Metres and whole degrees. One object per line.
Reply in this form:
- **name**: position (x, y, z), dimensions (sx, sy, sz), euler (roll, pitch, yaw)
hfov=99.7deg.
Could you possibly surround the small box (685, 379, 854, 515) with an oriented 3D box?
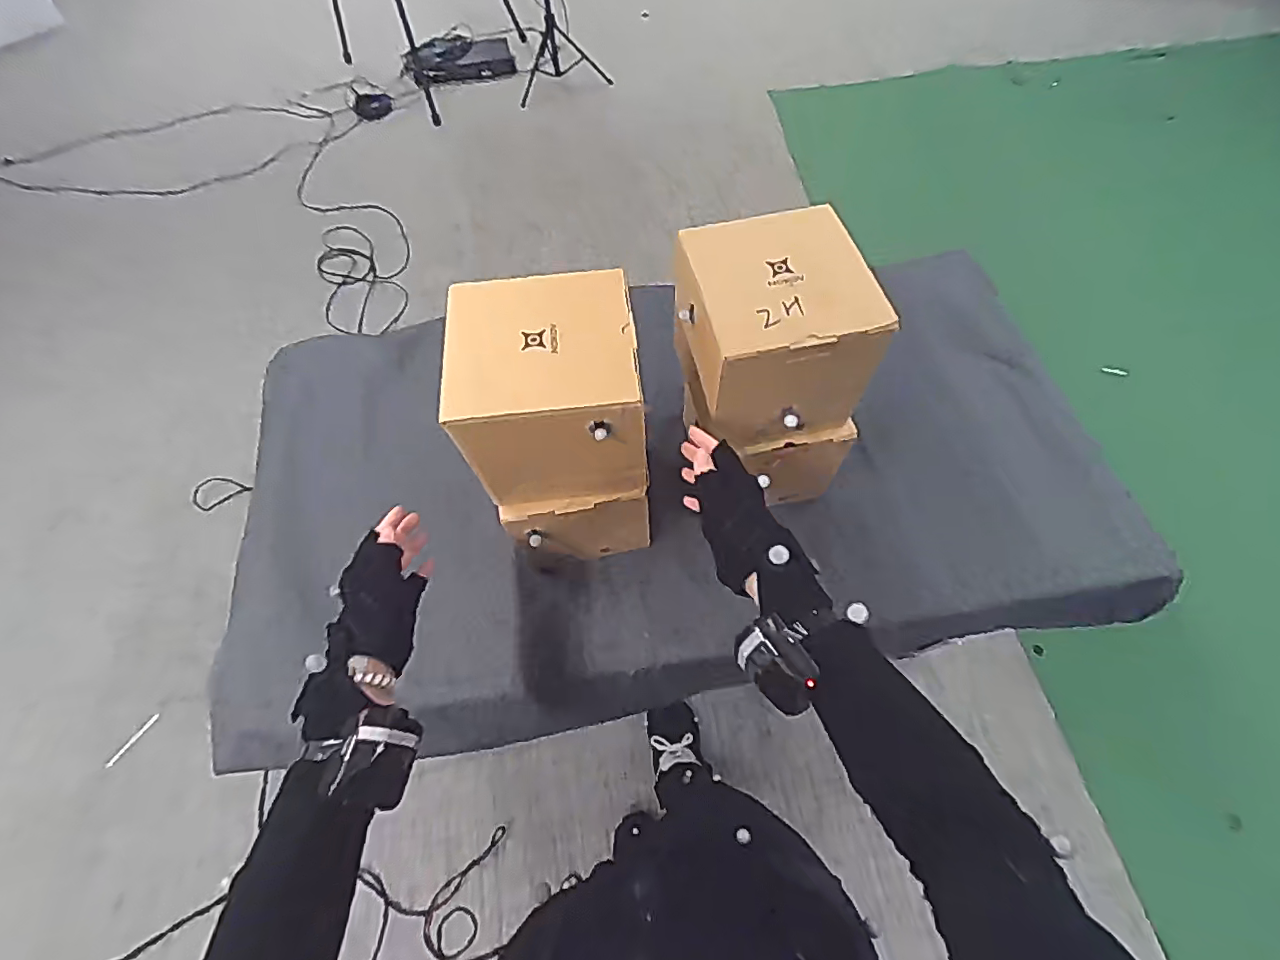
- **small box**: position (0.159, -0.065, 0.729), dimensions (0.168, 0.176, 0.179), euler (-10, 62, -3)

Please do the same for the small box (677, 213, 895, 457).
- **small box**: position (0.137, -0.151, 0.591), dimensions (0.168, 0.176, 0.179), euler (-12, 63, -3)

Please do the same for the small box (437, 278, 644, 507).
- **small box**: position (-0.091, -0.082, 0.565), dimensions (0.179, 0.176, 0.168), euler (-6, 61, -2)
